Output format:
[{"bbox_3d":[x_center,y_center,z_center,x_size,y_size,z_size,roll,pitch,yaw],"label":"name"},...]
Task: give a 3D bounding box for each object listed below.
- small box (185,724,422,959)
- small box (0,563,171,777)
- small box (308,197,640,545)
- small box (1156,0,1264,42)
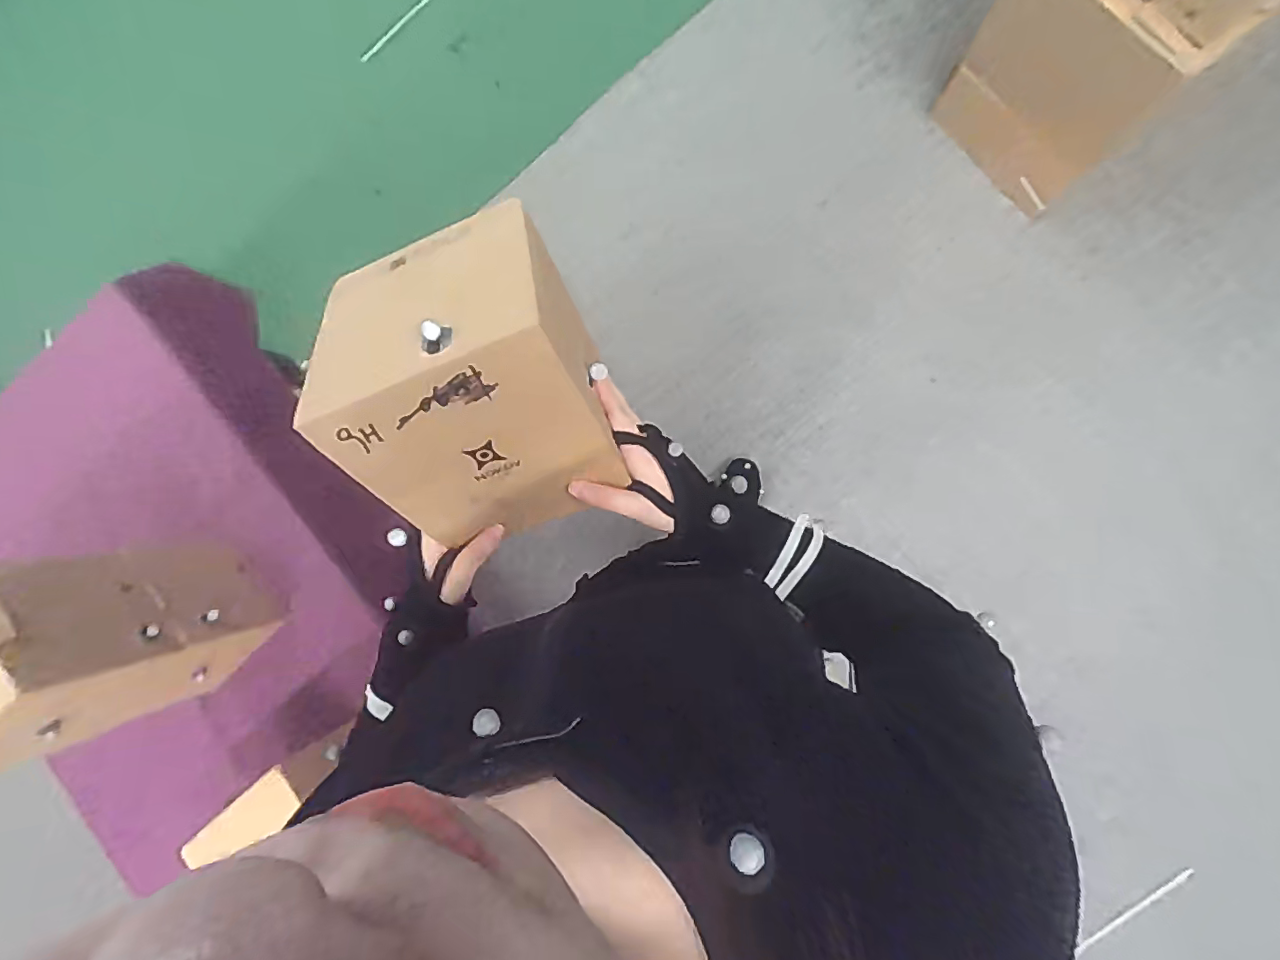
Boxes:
[{"bbox_3d":[-0.438,0.474,0.731,0.179,0.176,0.168,-41,83,4],"label":"small box"},{"bbox_3d":[-0.696,0.213,0.616,0.179,0.176,0.168,-43,82,5],"label":"small box"},{"bbox_3d":[-0.114,-0.080,0.427,0.168,0.179,0.176,-21,52,7],"label":"small box"},{"bbox_3d":[1.002,-0.887,0.887,0.179,0.176,0.168,-36,81,3],"label":"small box"}]
